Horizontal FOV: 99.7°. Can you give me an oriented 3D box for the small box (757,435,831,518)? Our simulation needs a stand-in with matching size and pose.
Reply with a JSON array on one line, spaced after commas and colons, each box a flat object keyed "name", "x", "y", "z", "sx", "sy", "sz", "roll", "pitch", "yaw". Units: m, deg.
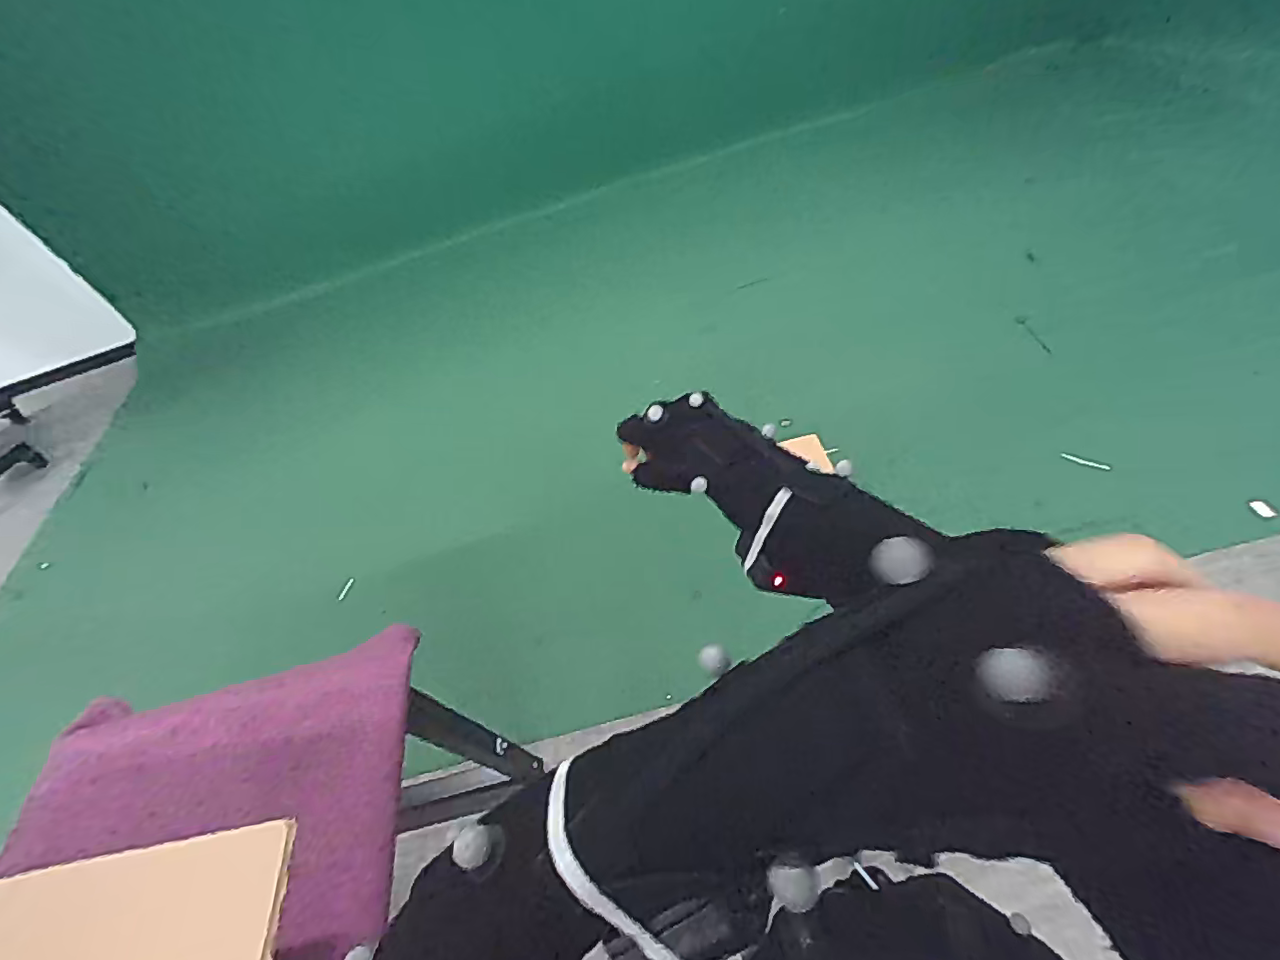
[{"name": "small box", "x": 0.469, "y": -0.007, "z": 1.668, "sx": 0.179, "sy": 0.176, "sz": 0.168, "roll": -15, "pitch": 50, "yaw": 4}]
